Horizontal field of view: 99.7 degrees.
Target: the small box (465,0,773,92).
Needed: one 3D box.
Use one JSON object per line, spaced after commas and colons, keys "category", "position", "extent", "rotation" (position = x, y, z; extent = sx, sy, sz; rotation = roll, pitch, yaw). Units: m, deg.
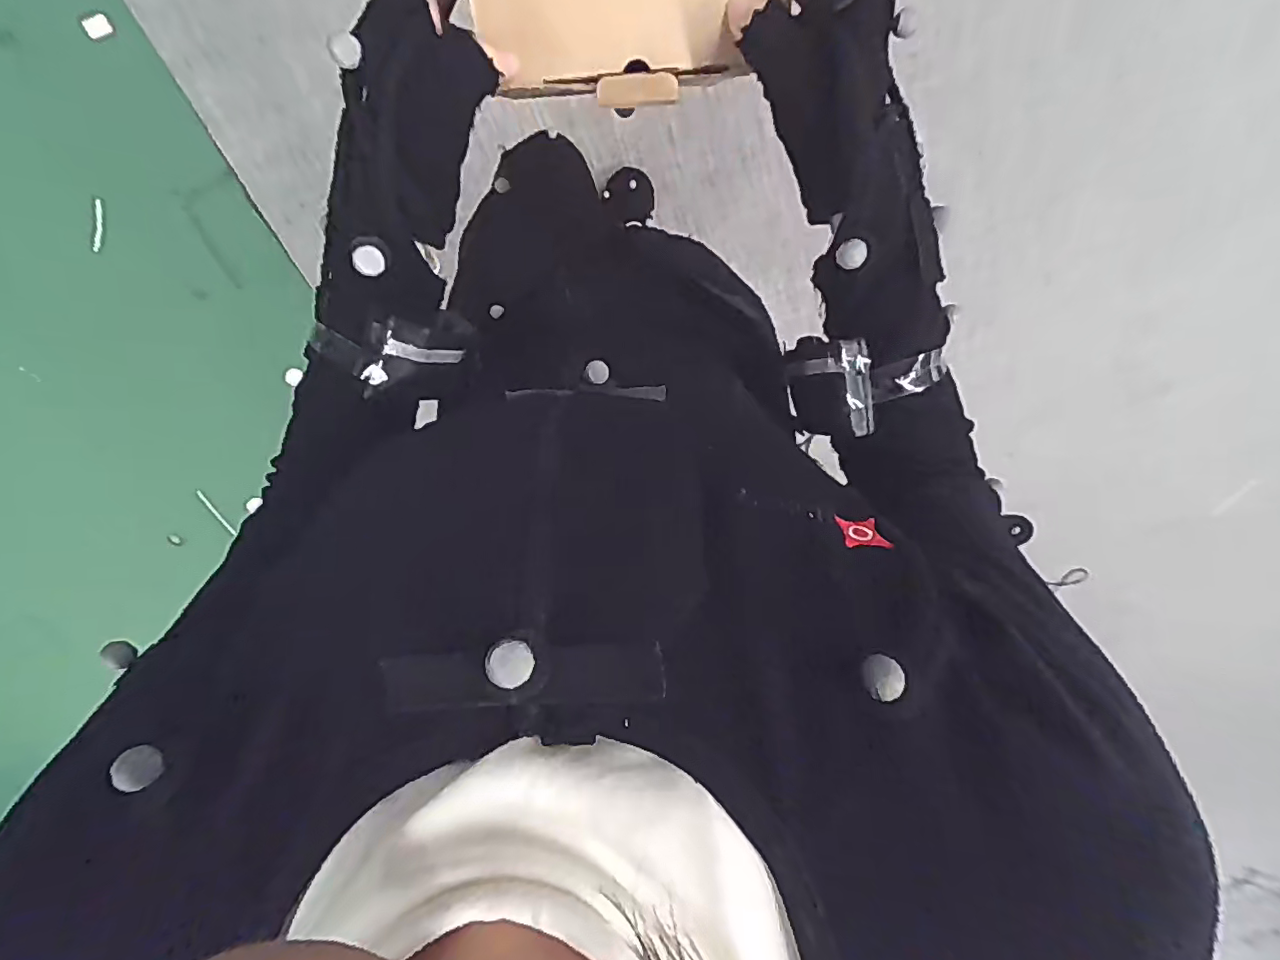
{"category": "small box", "position": [-0.019, -0.343, 0.318], "extent": [0.168, 0.176, 0.179], "rotation": [-7, 125, -1]}
